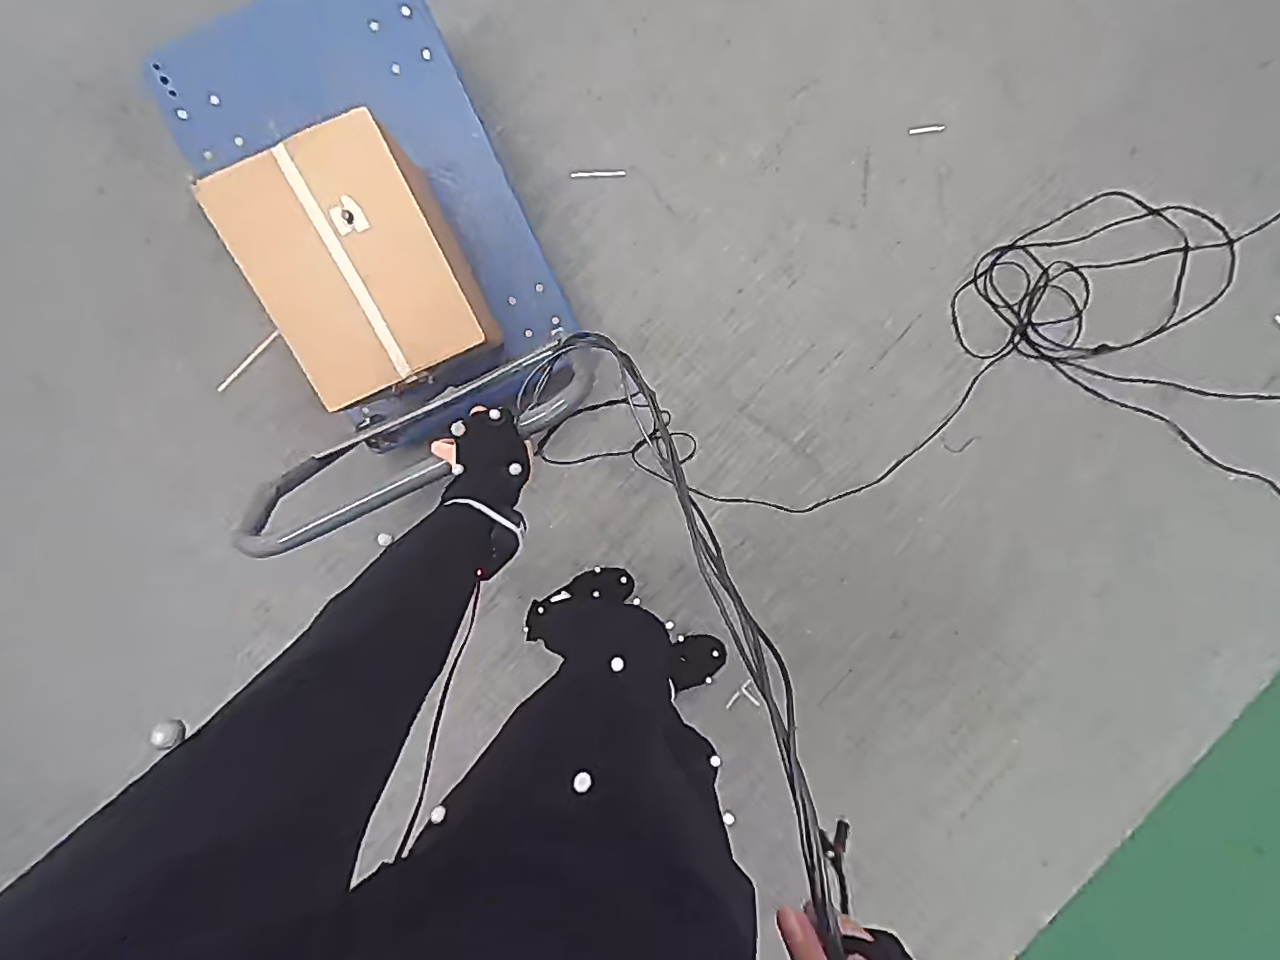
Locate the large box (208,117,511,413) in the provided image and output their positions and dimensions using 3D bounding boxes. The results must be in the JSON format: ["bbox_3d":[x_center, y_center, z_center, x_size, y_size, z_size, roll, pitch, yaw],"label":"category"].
[{"bbox_3d":[-0.501,-0.389,1.073,0.320,0.320,0.408,-26,105,-2],"label":"large box"}]
